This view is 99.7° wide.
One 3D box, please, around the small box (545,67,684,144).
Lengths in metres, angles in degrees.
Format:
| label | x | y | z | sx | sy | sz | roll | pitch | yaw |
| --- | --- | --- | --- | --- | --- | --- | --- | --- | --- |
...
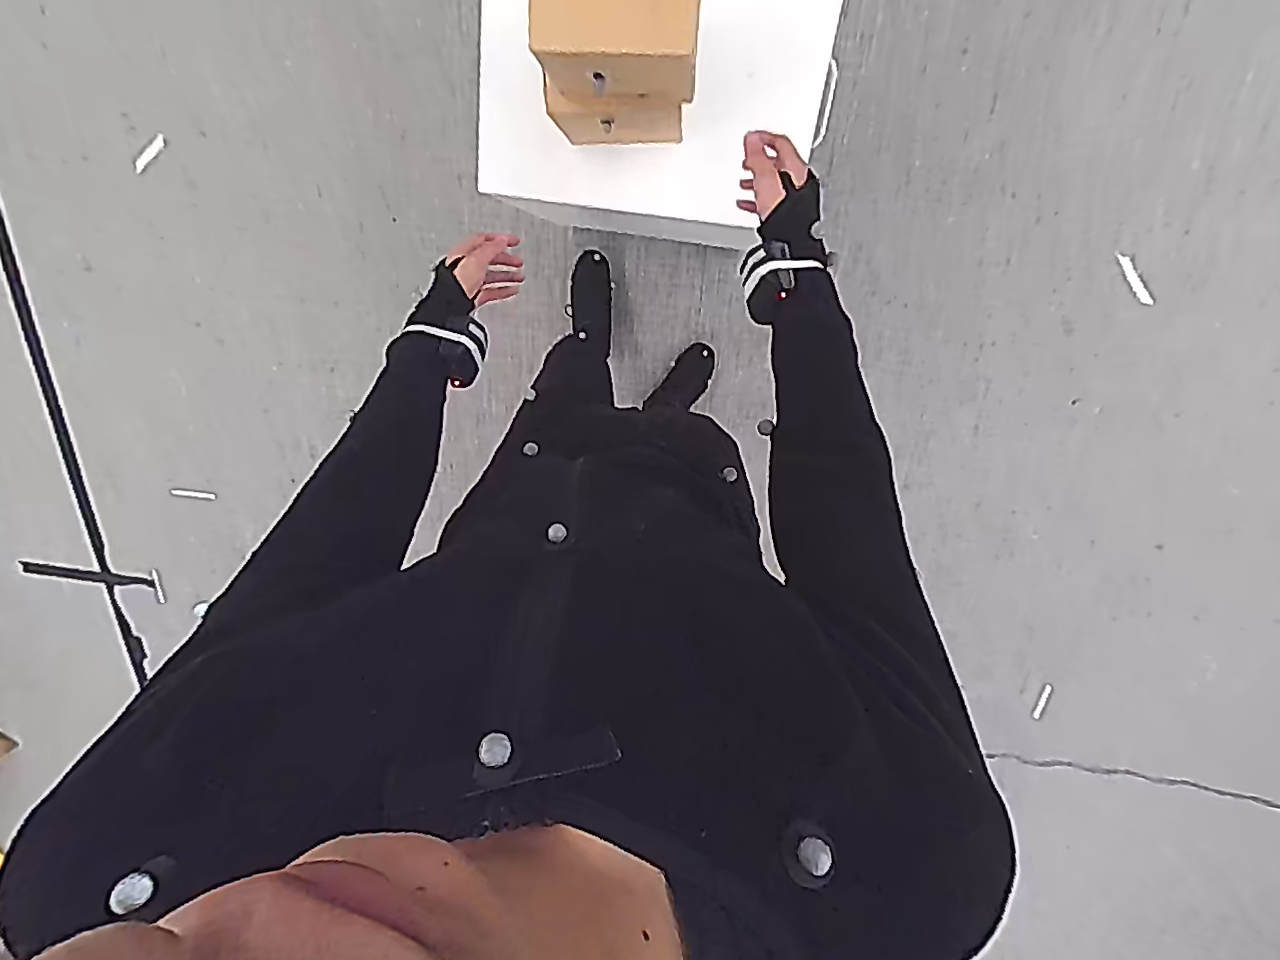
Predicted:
| label | x | y | z | sx | sy | sz | roll | pitch | yaw |
| --- | --- | --- | --- | --- | --- | --- | --- | --- | --- |
| small box | -0.027 | -0.573 | 0.741 | 0.179 | 0.176 | 0.168 | 1 | 110 | 4 |

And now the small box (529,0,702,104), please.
| label | x | y | z | sx | sy | sz | roll | pitch | yaw |
| --- | --- | --- | --- | --- | --- | --- | --- | --- | --- |
| small box | -0.017 | -0.530 | 0.583 | 0.168 | 0.176 | 0.179 | 4 | 109 | 4 |
